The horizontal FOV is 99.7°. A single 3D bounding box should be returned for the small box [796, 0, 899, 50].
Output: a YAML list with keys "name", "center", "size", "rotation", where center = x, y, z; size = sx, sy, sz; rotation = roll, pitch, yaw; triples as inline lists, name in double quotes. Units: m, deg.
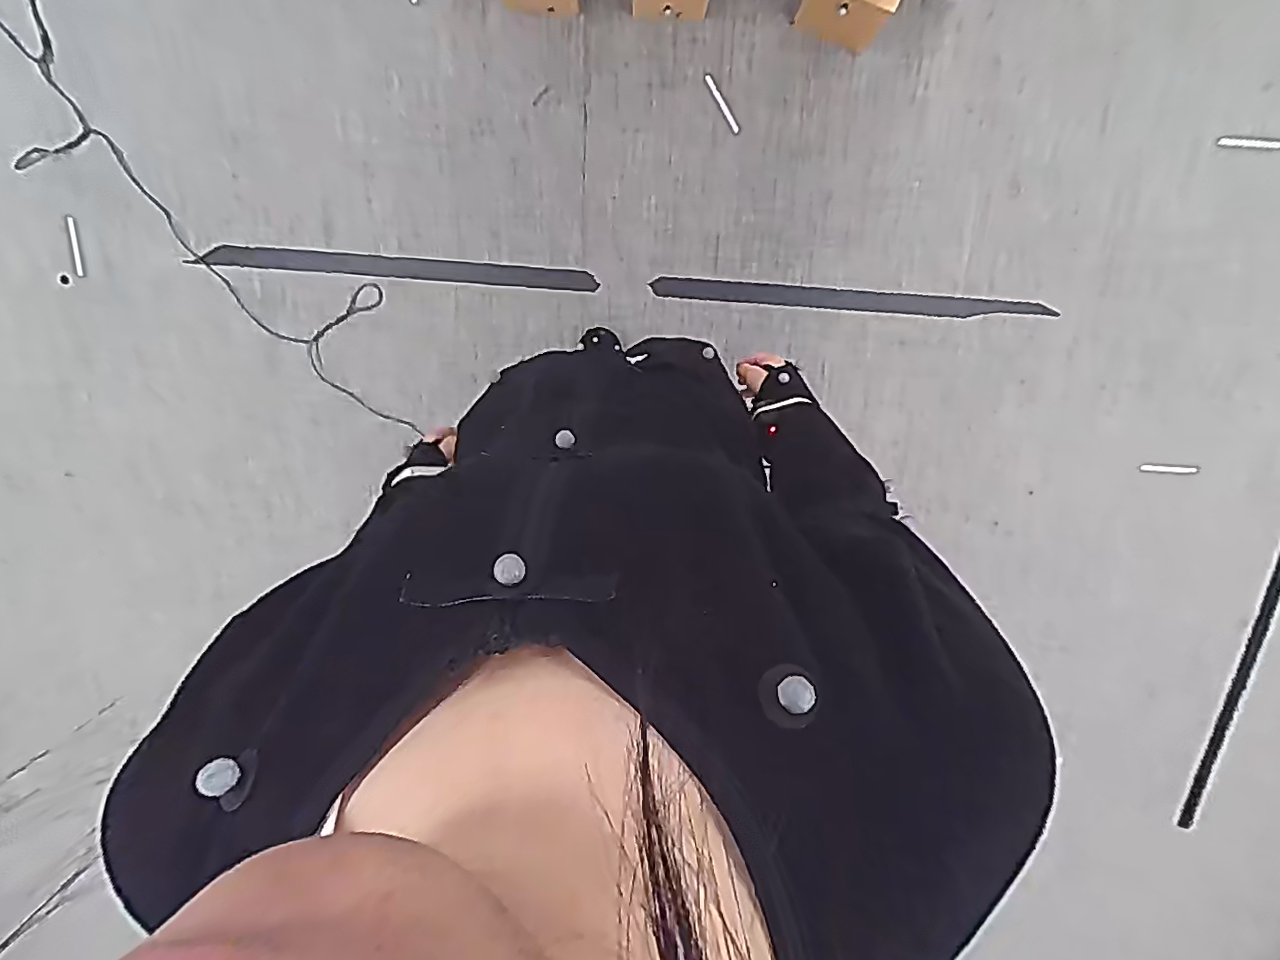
- name: "small box"
  center: [0.459, -1.061, 1.145]
  size: [0.179, 0.176, 0.168]
  rotation: [20, 105, -4]

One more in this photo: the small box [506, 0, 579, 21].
- name: "small box"
  center: [-0.212, -1.114, 1.125]
  size: [0.168, 0.176, 0.179]
  rotation: [5, 103, -2]
